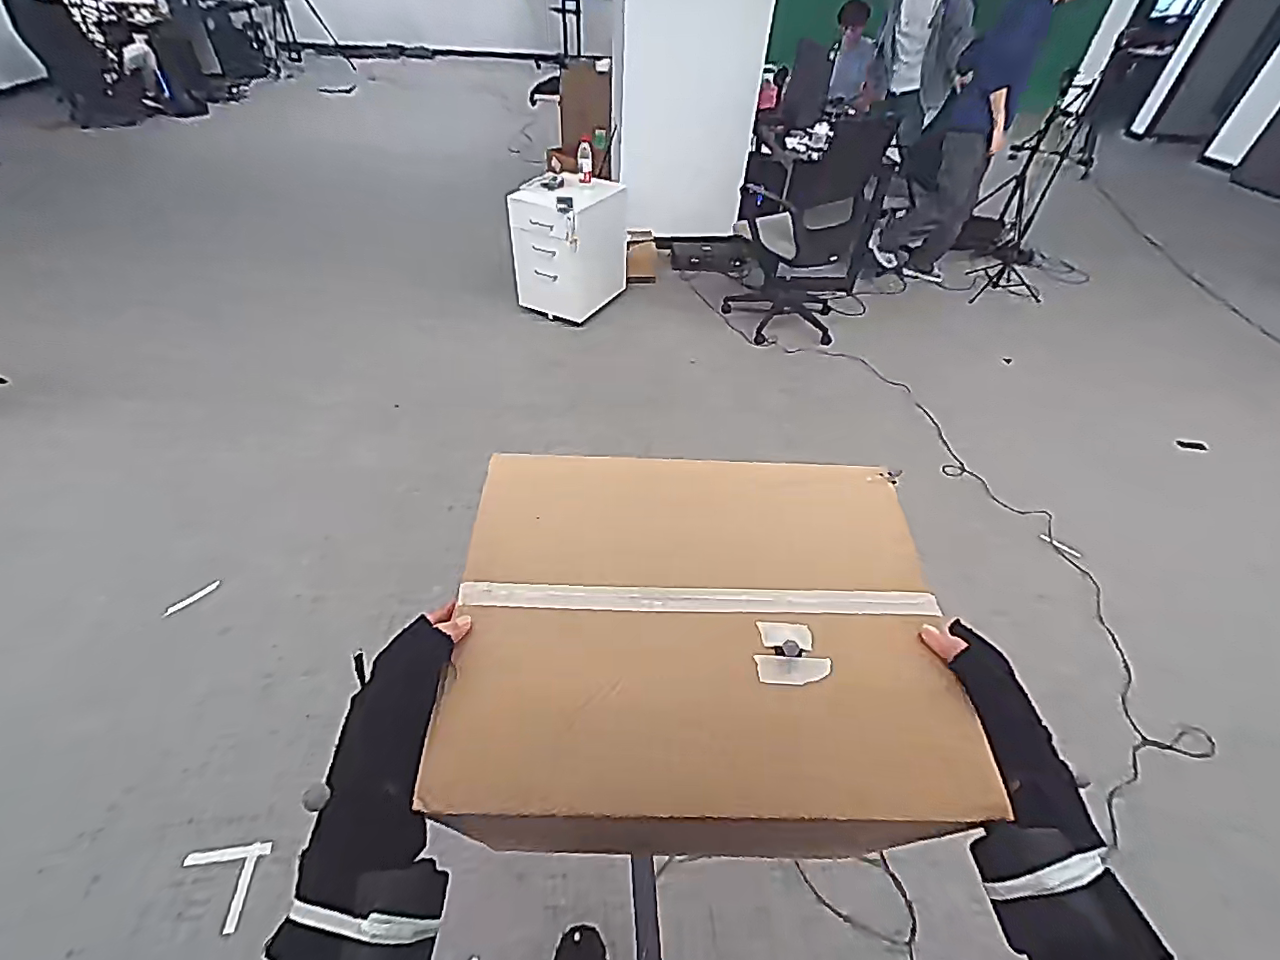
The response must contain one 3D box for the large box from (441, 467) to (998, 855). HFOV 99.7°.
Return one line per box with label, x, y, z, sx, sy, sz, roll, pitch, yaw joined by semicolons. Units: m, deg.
large box;0.050;0.203;0.583;0.408;0.320;0.320;2;53;-2
